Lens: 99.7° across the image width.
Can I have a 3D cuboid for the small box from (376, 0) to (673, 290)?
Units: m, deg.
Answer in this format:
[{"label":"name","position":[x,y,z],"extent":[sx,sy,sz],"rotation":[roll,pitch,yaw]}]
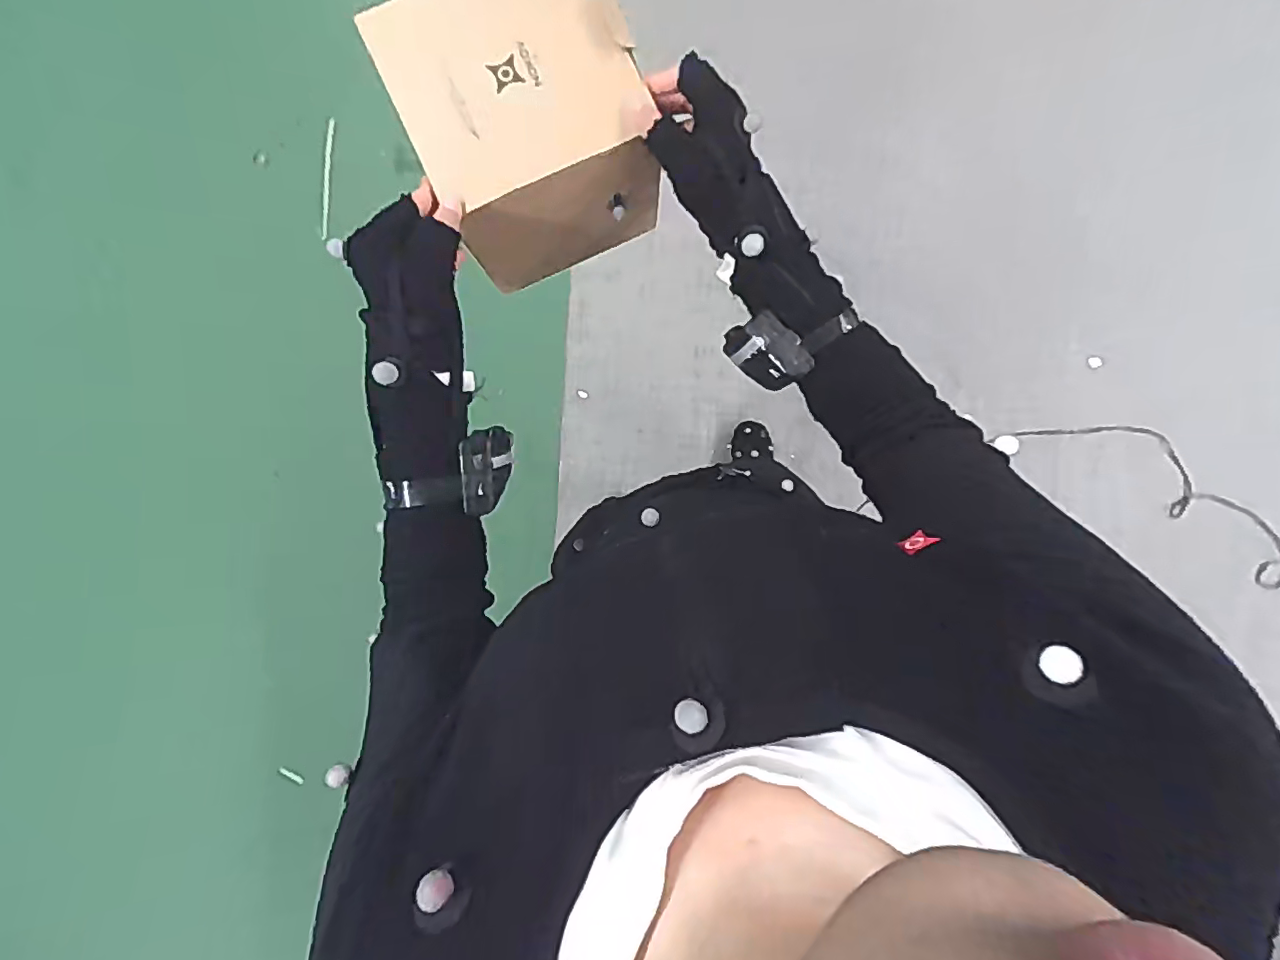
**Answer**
[{"label":"small box","position":[-0.085,-0.300,0.479],"extent":[0.179,0.176,0.168],"rotation":[-25,89,1]}]
